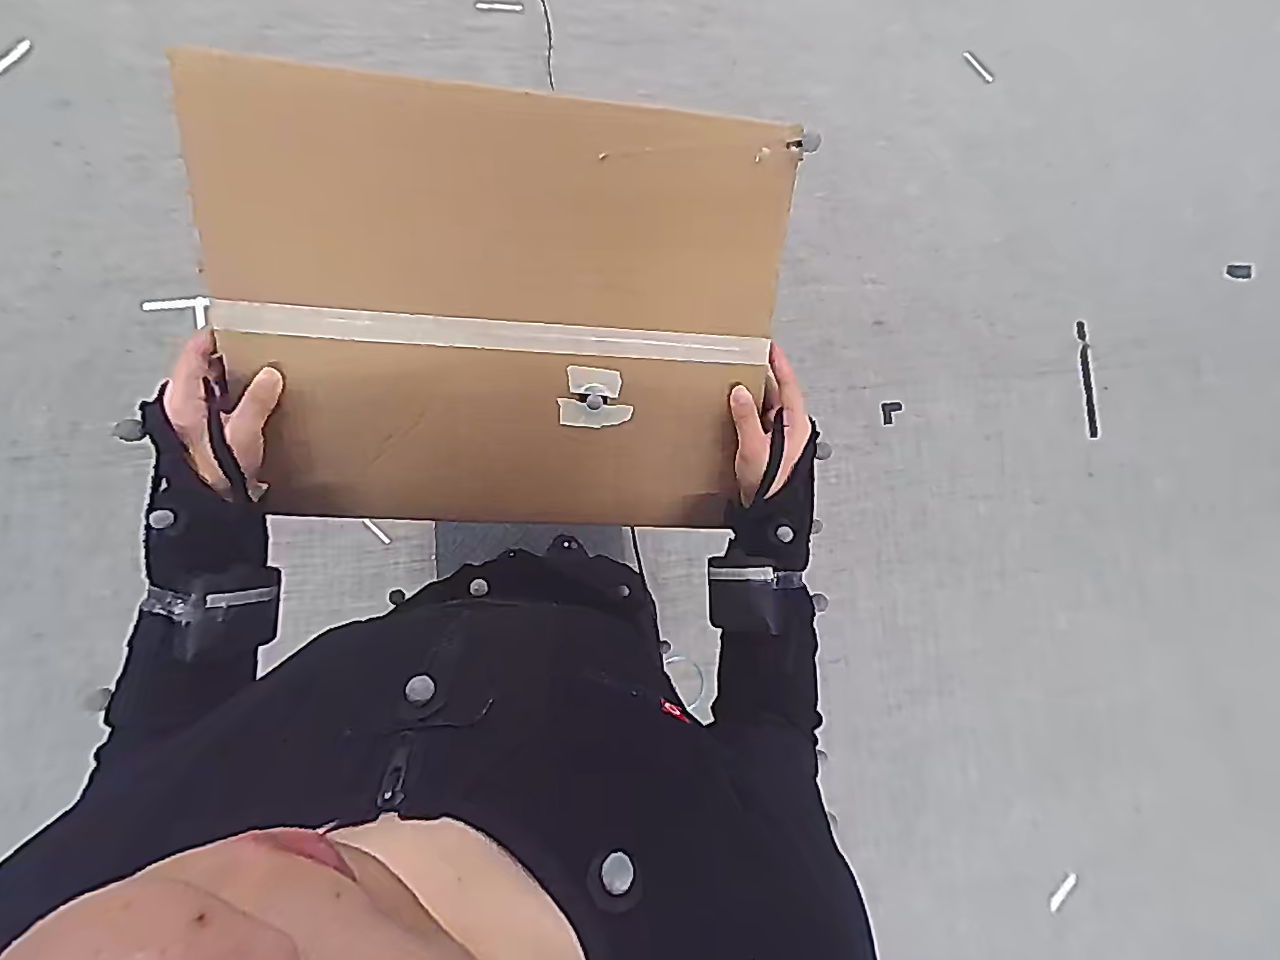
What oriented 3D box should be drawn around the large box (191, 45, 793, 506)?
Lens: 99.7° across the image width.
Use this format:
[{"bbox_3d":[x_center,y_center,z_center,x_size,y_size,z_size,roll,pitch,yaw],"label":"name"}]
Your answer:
[{"bbox_3d":[-0.114,-0.174,0.550,0.408,0.320,0.320,2,111,-8],"label":"large box"}]
